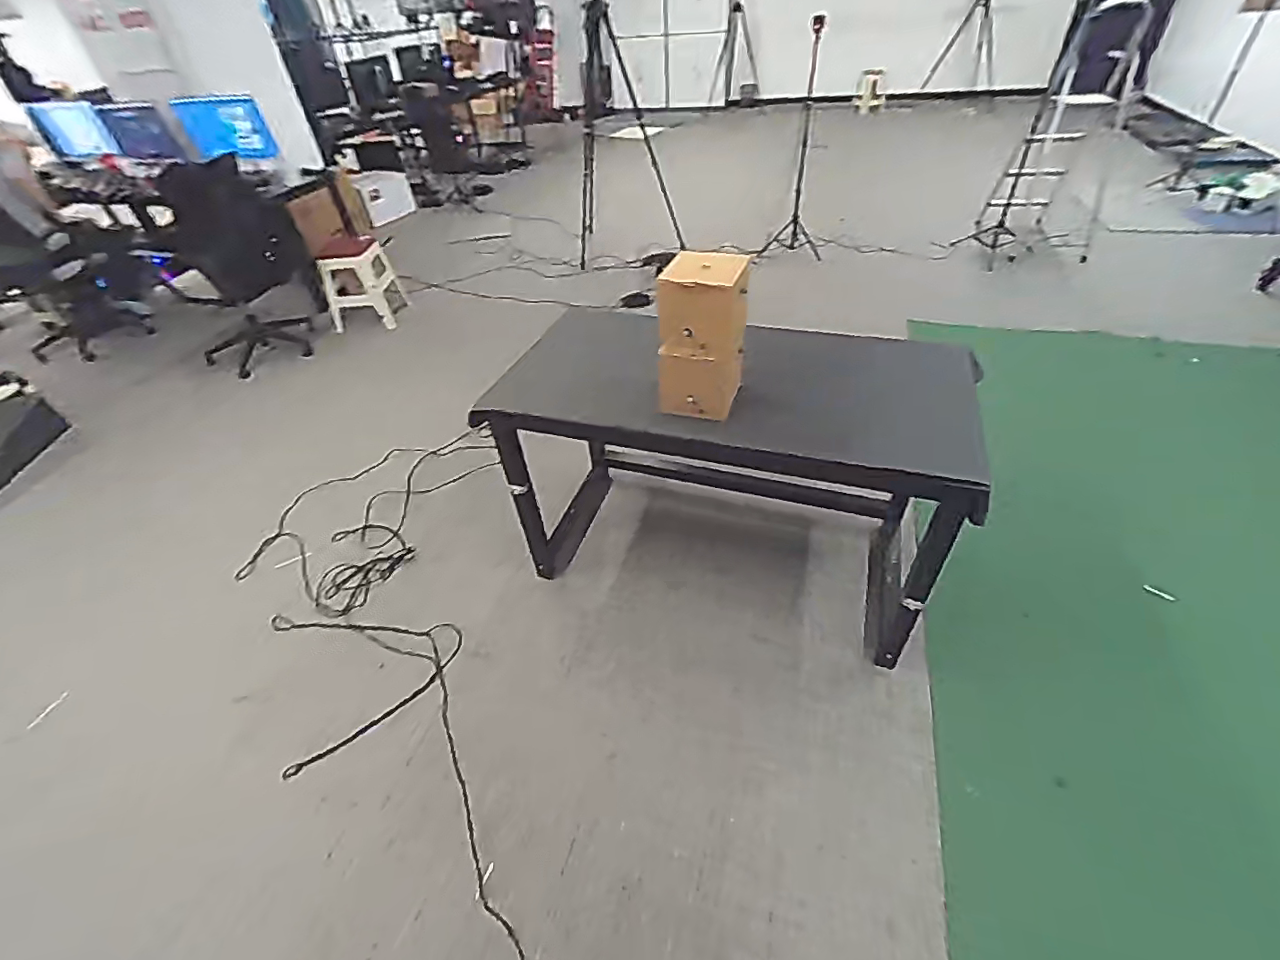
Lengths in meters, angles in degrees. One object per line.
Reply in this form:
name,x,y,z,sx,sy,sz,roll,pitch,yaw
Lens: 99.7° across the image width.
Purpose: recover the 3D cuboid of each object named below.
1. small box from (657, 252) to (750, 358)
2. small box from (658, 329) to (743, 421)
small box,0.144,-0.396,1.223,0.168,0.176,0.179,12,44,18
small box,0.149,-0.269,1.325,0.168,0.176,0.179,10,44,18
